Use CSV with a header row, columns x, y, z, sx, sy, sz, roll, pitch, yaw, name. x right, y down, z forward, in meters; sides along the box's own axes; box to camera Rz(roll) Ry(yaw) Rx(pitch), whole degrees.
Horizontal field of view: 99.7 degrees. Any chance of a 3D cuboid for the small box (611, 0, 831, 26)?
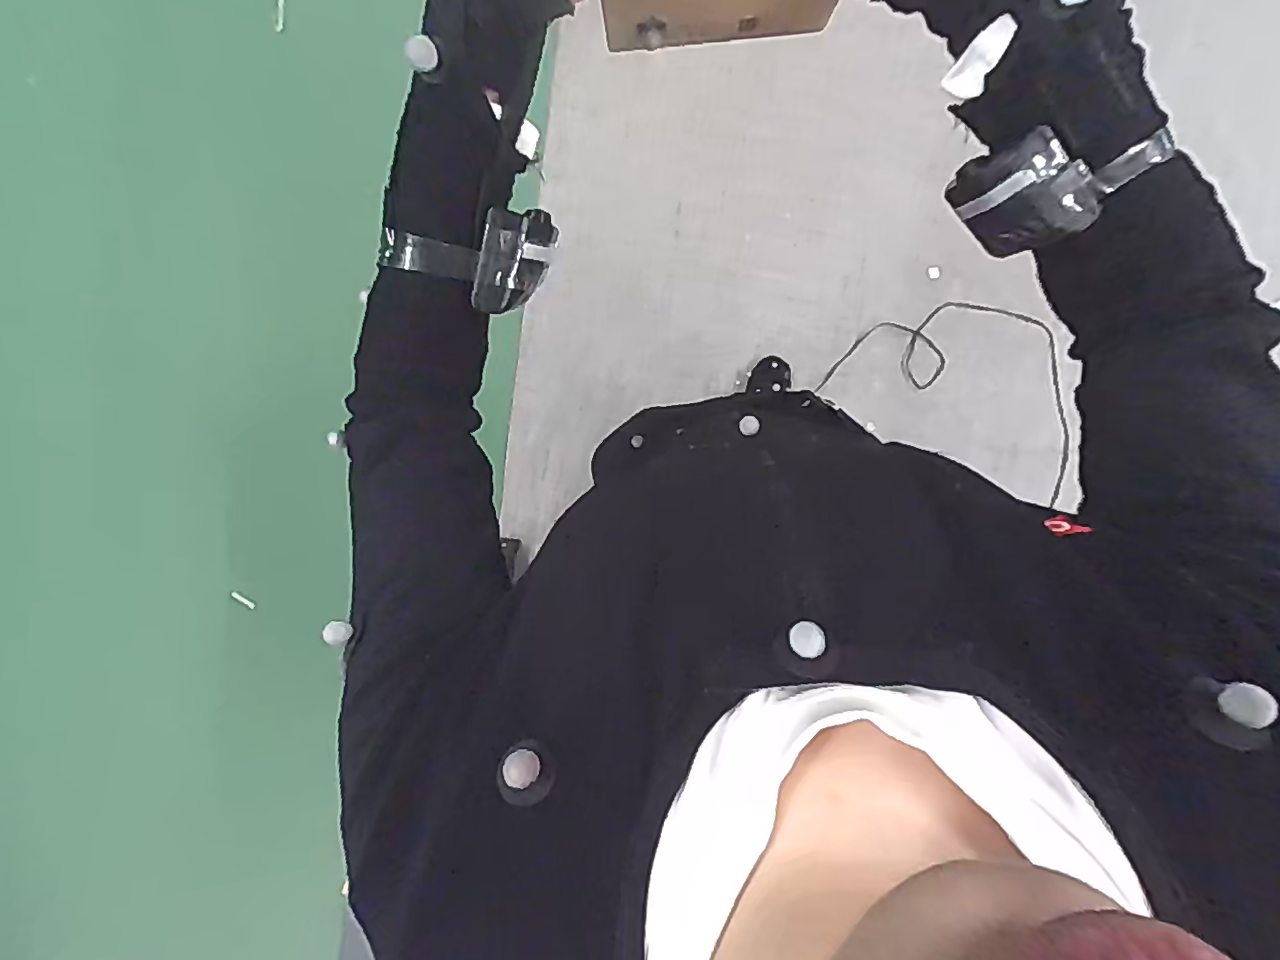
x,y,z,sx,sy,sz,roll,pitch,yaw,name
0.052,-0.403,0.310,0.168,0.176,0.179,-3,101,2,small box
